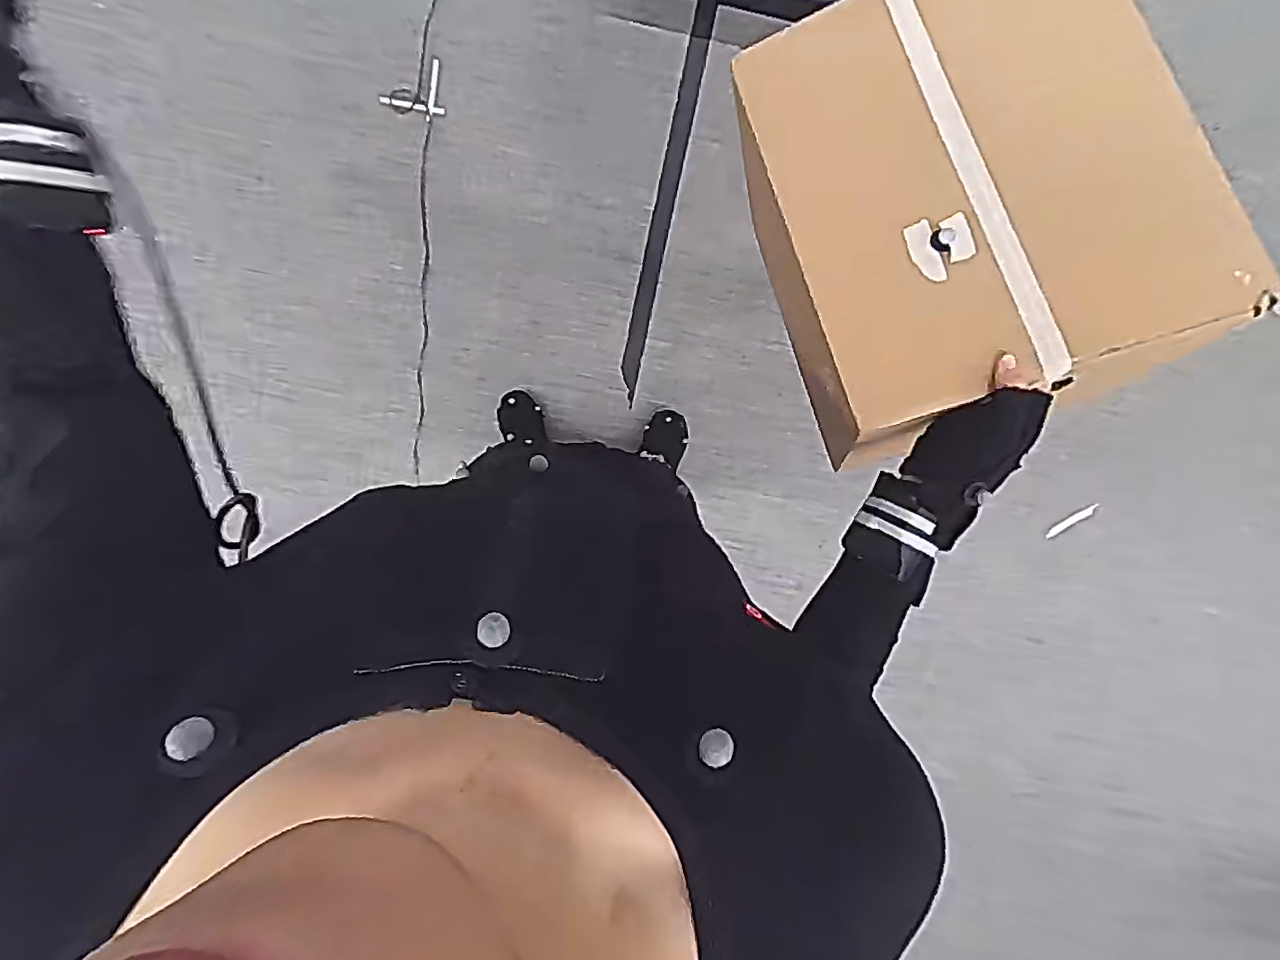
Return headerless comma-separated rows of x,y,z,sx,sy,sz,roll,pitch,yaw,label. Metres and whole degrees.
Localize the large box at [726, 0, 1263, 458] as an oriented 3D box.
0.320,-0.274,0.622,0.320,0.320,0.408,-18,80,14,large box
